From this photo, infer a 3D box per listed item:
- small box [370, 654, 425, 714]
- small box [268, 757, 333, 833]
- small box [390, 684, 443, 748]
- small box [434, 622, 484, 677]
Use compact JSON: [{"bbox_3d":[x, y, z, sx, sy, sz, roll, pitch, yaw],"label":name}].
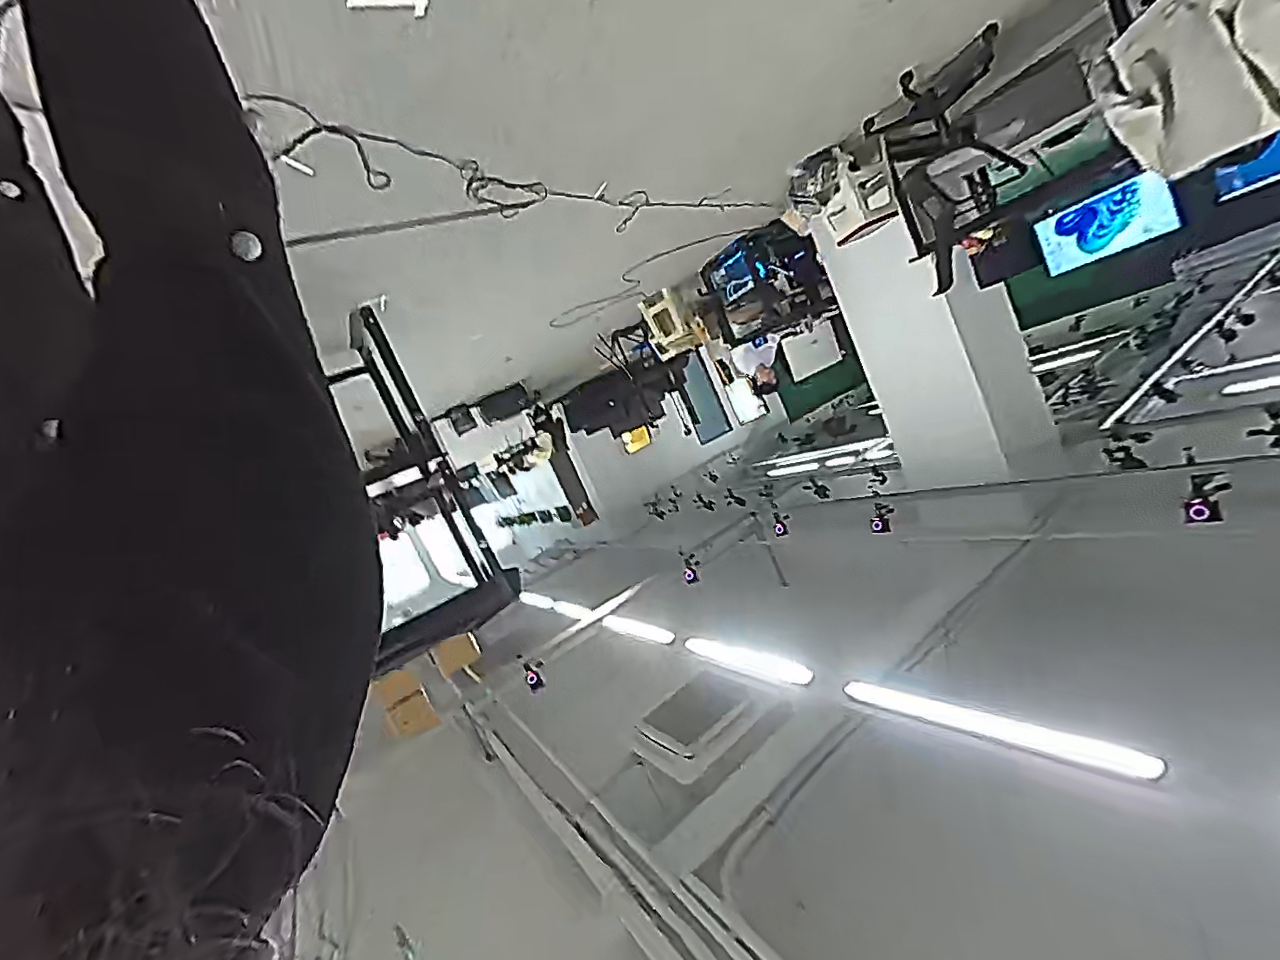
[{"bbox_3d":[-1.079,0.901,2.402,0.168,0.176,0.179,-28,-171,-28],"label":"small box"},{"bbox_3d":[-1.339,1.234,2.139,0.168,0.176,0.179,-29,-173,-29],"label":"small box"},{"bbox_3d":[-1.004,1.045,2.411,0.168,0.176,0.179,-26,-172,-26],"label":"small box"},{"bbox_3d":[-0.846,0.781,2.517,0.168,0.176,0.179,-27,-172,-20],"label":"small box"}]
